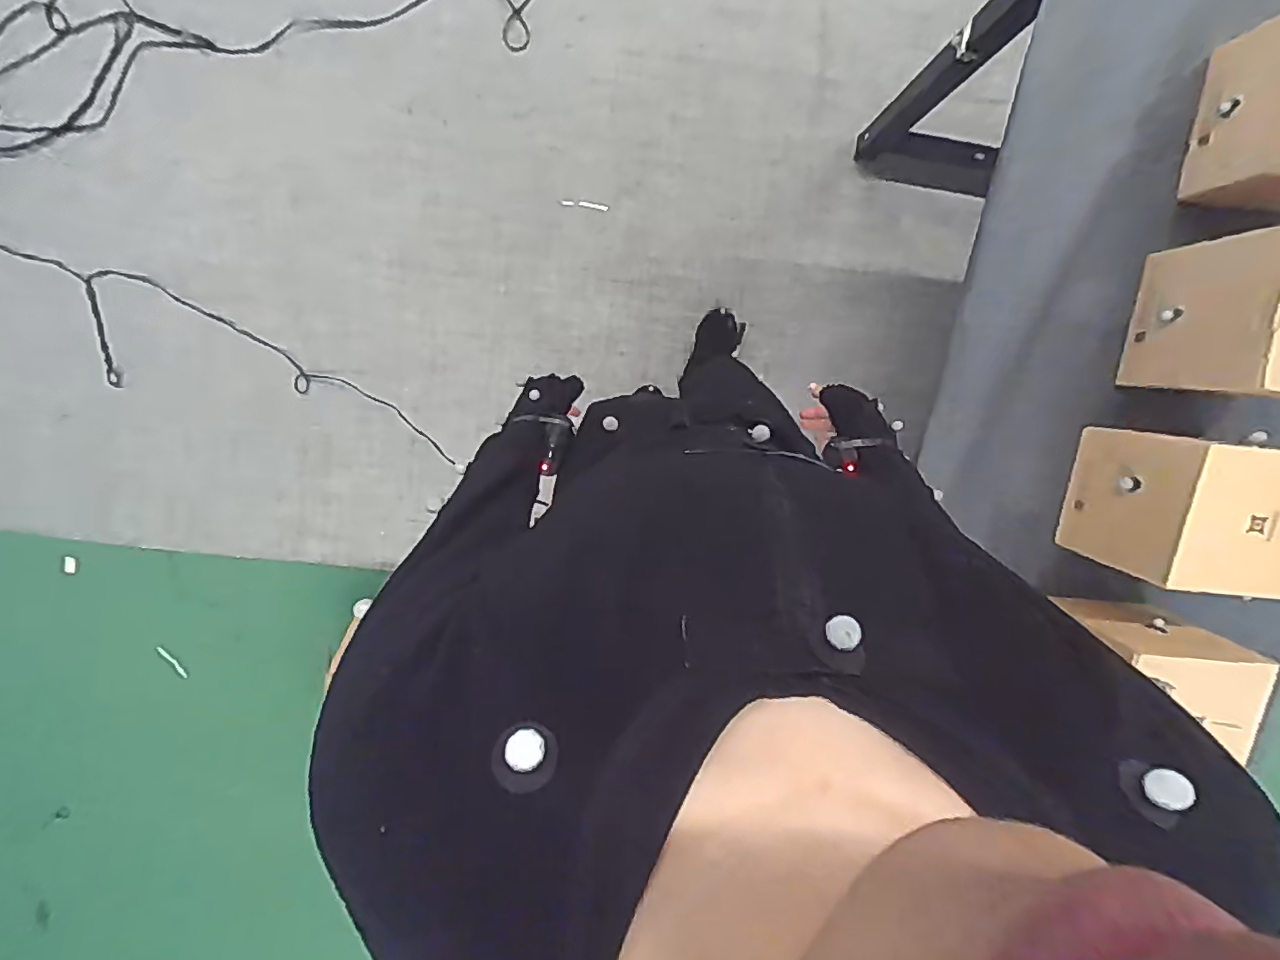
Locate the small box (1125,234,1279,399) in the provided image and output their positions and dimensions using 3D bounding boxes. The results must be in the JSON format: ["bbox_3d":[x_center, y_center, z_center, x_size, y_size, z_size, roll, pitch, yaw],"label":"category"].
[{"bbox_3d":[0.722,-0.178,0.611,0.179,0.176,0.168,5,101,-2],"label":"small box"}]

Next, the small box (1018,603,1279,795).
[{"bbox_3d":[0.639,0.270,0.701,0.179,0.176,0.168,5,101,-3],"label":"small box"}]

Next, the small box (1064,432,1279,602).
[{"bbox_3d":[0.672,0.036,0.656,0.179,0.176,0.168,5,101,-3],"label":"small box"}]
